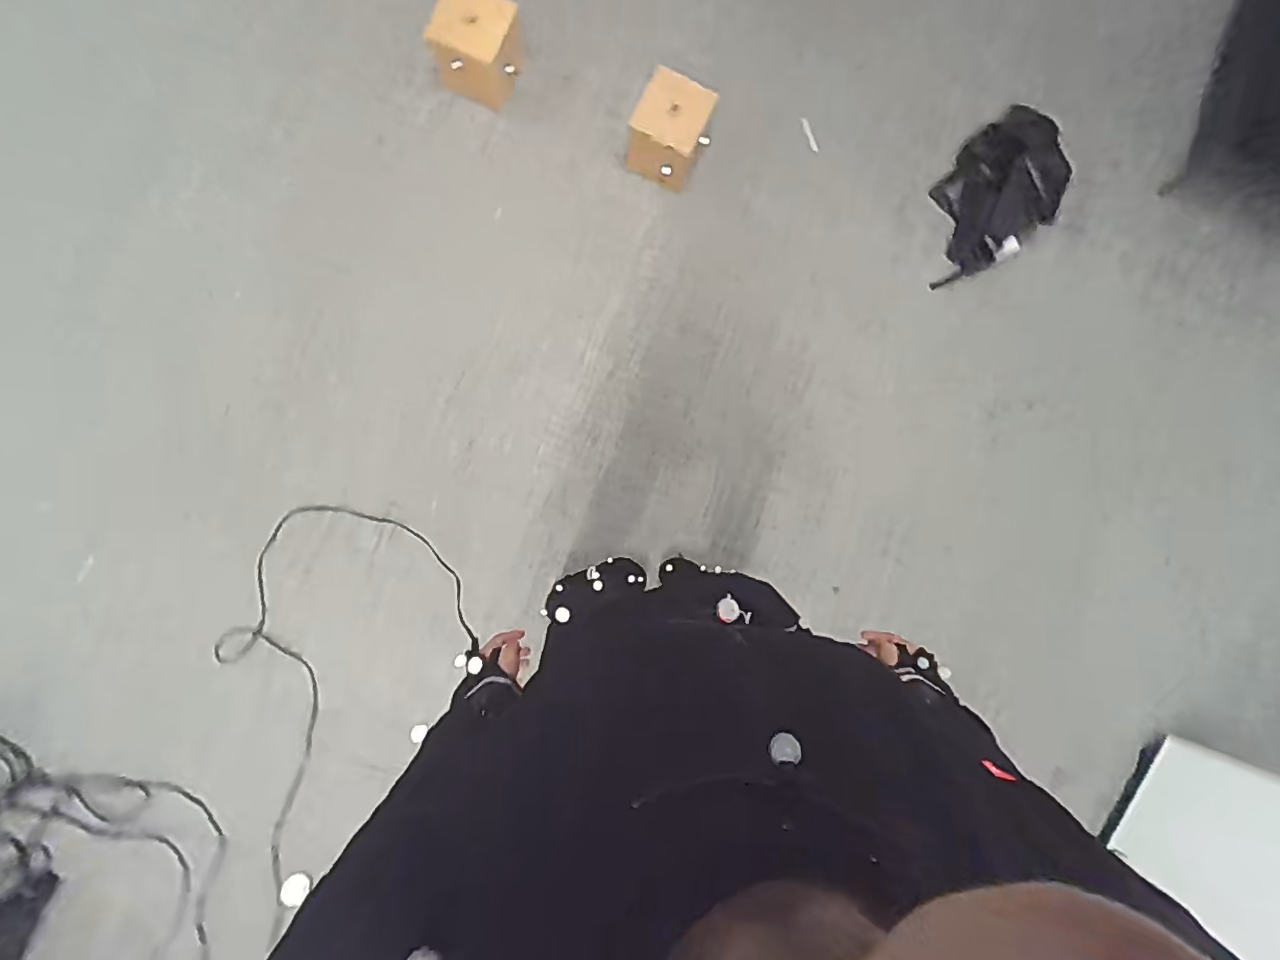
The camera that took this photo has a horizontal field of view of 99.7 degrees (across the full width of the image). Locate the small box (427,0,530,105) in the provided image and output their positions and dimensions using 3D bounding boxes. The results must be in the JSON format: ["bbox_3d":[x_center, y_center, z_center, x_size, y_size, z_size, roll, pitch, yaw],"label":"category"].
[{"bbox_3d":[-0.394,-1.093,1.358,0.179,0.176,0.168,23,86,0],"label":"small box"}]

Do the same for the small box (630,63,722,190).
[{"bbox_3d":[0.084,-0.880,1.367,0.168,0.176,0.179,27,84,-2],"label":"small box"}]
